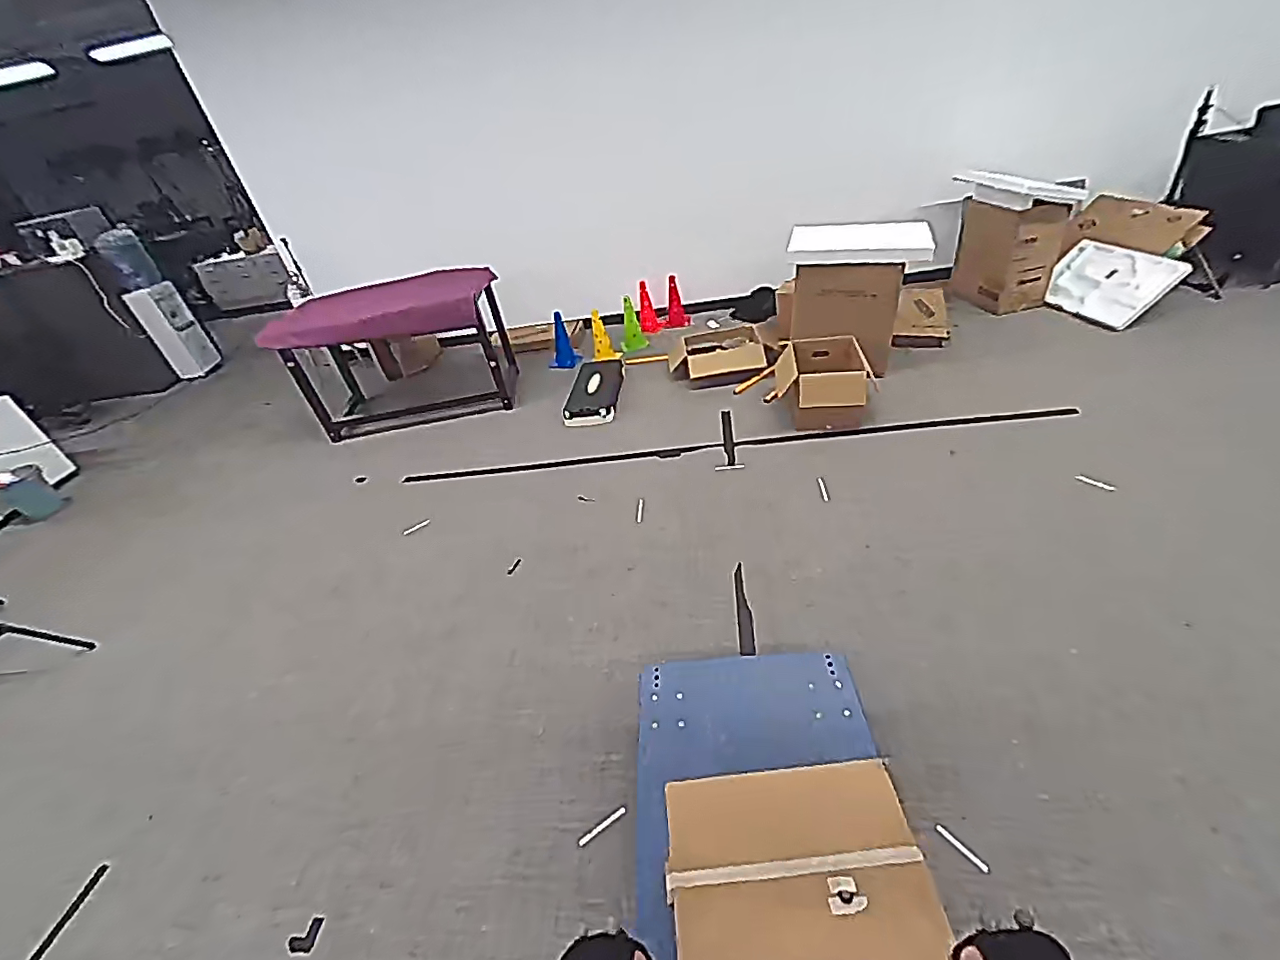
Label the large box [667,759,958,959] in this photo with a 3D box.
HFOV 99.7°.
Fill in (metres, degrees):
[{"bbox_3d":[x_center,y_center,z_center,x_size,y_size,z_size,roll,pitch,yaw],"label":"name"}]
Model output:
[{"bbox_3d":[0.273,0.756,0.977,0.408,0.320,0.320,-8,37,3],"label":"large box"}]
